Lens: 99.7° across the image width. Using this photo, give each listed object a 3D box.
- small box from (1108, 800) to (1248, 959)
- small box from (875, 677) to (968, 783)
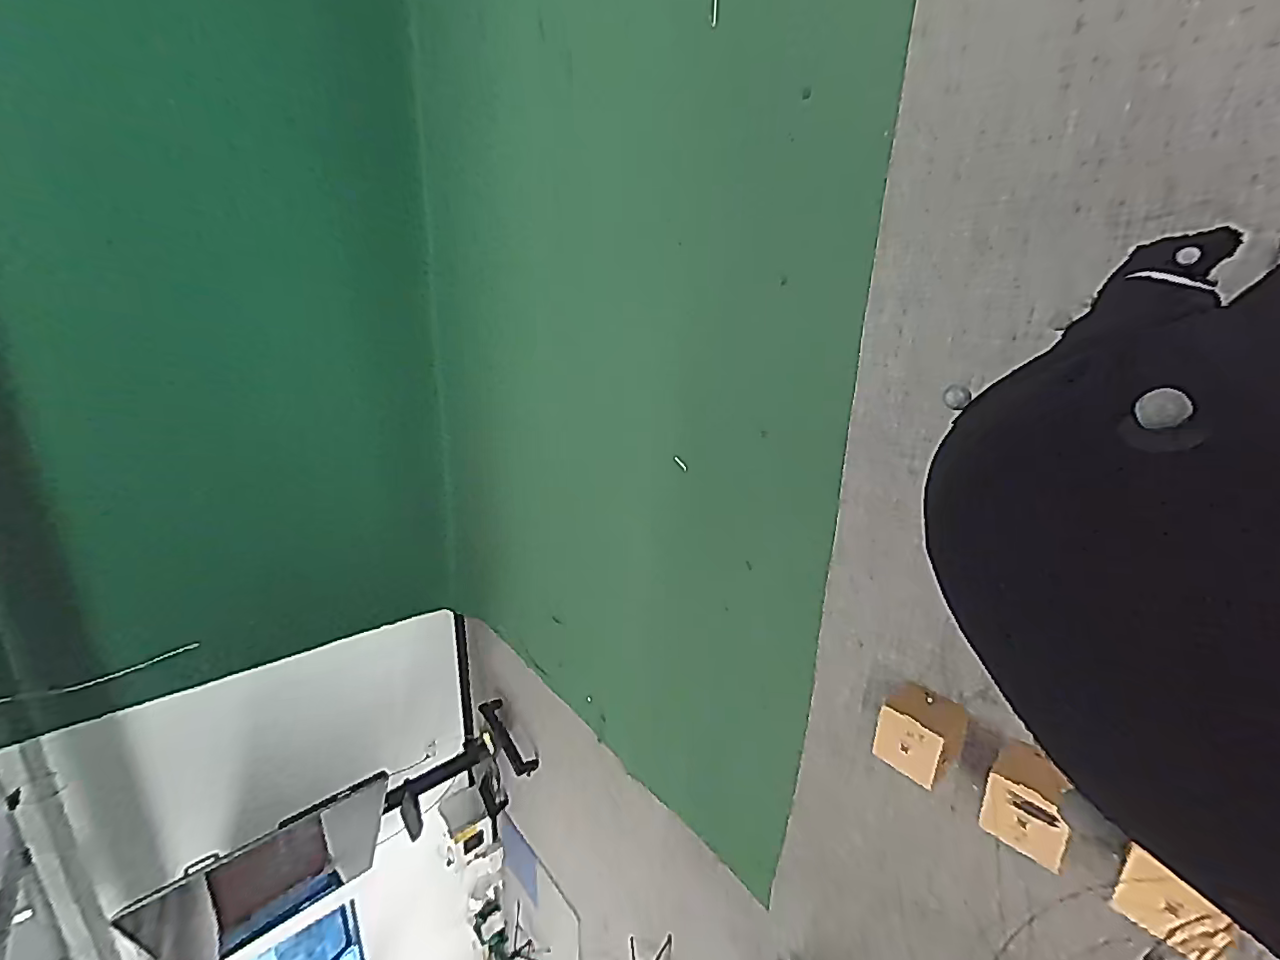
[{"bbox_3d":[1.132,0.829,1.136,0.168,0.176,0.179,22,116,45],"label":"small box"},{"bbox_3d":[0.791,0.693,1.518,0.168,0.176,0.179,22,116,45],"label":"small box"}]
